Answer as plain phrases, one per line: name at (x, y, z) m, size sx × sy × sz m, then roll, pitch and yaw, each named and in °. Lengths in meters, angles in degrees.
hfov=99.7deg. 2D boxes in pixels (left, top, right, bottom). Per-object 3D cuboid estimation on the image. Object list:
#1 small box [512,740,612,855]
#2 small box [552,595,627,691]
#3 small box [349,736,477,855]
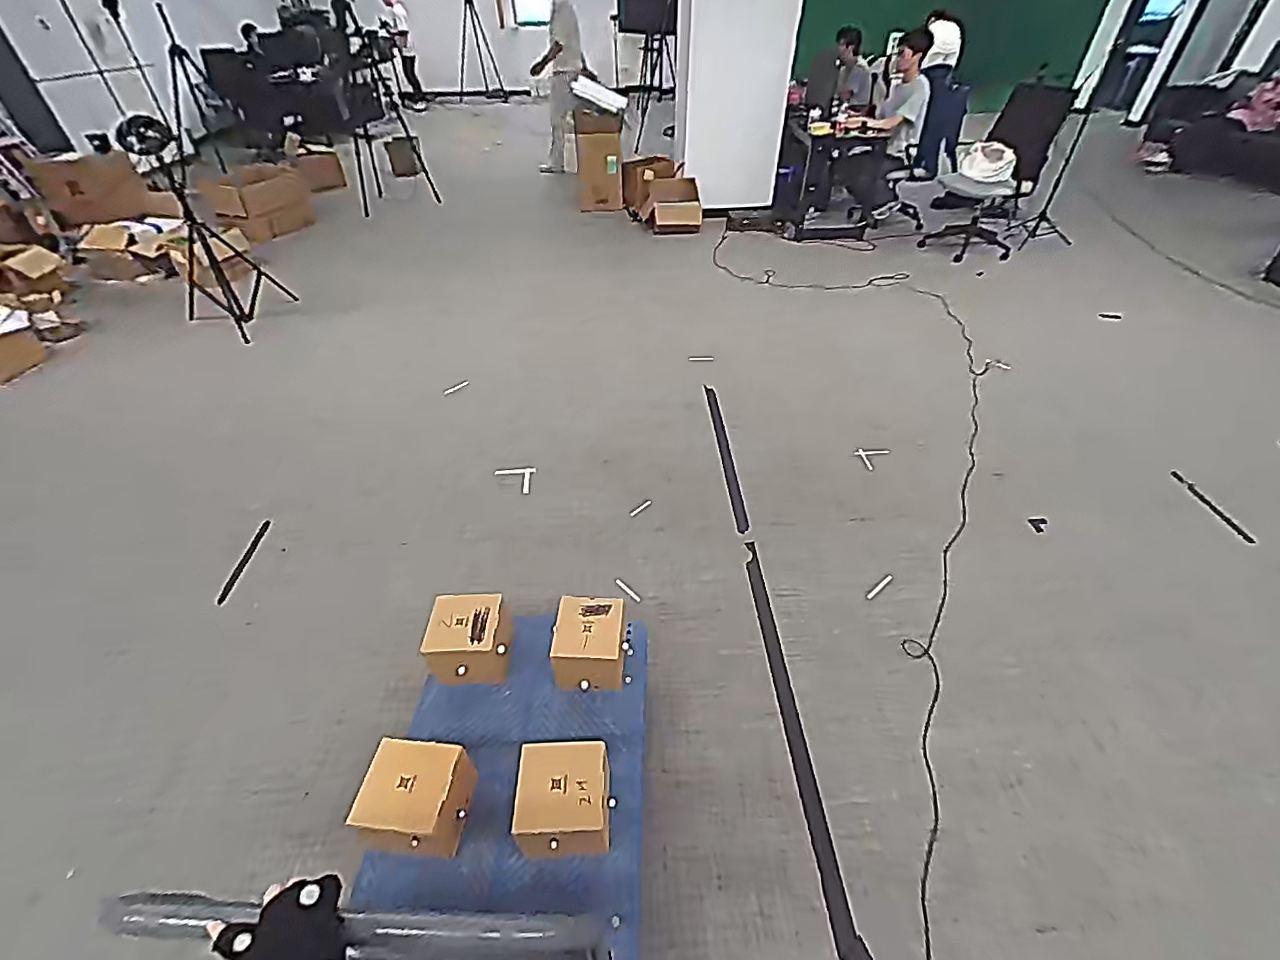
small box at (-0.154, 0.663, 1.127) m, size 0.179 × 0.176 × 0.168 m, roll -2°, pitch 42°, yaw 0°
small box at (-0.123, 0.420, 1.398) m, size 0.168 × 0.176 × 0.179 m, roll 2°, pitch 43°, yaw 3°
small box at (-0.463, 0.663, 1.134) m, size 0.179 × 0.176 × 0.168 m, roll 4°, pitch 41°, yaw 3°
